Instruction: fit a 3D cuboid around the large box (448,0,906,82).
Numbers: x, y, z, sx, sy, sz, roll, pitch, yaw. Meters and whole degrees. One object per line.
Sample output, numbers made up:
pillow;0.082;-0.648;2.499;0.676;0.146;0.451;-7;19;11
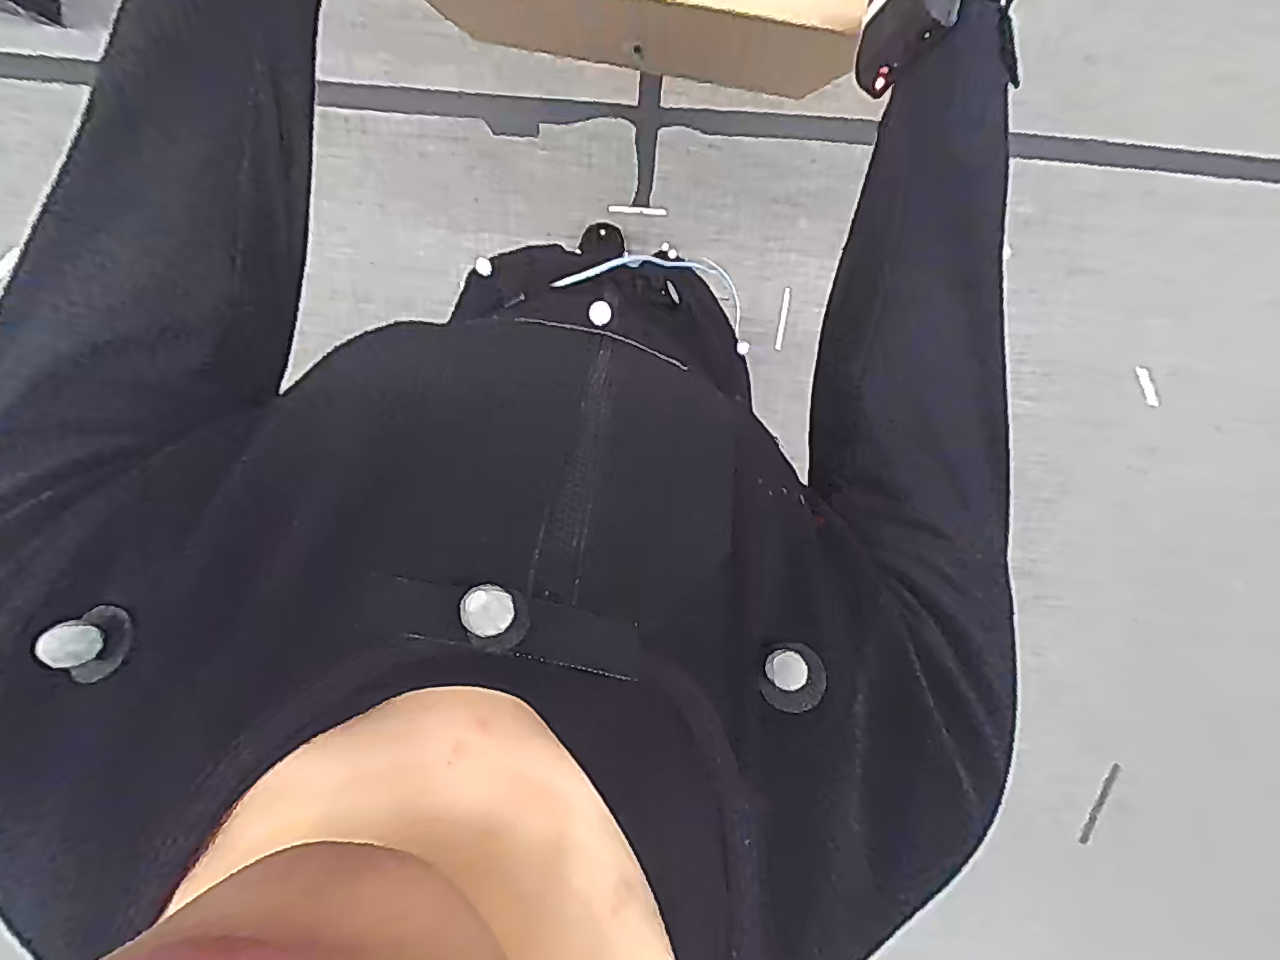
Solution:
large box;0.022;-0.564;0.448;0.408;0.320;0.320;9;118;-3
